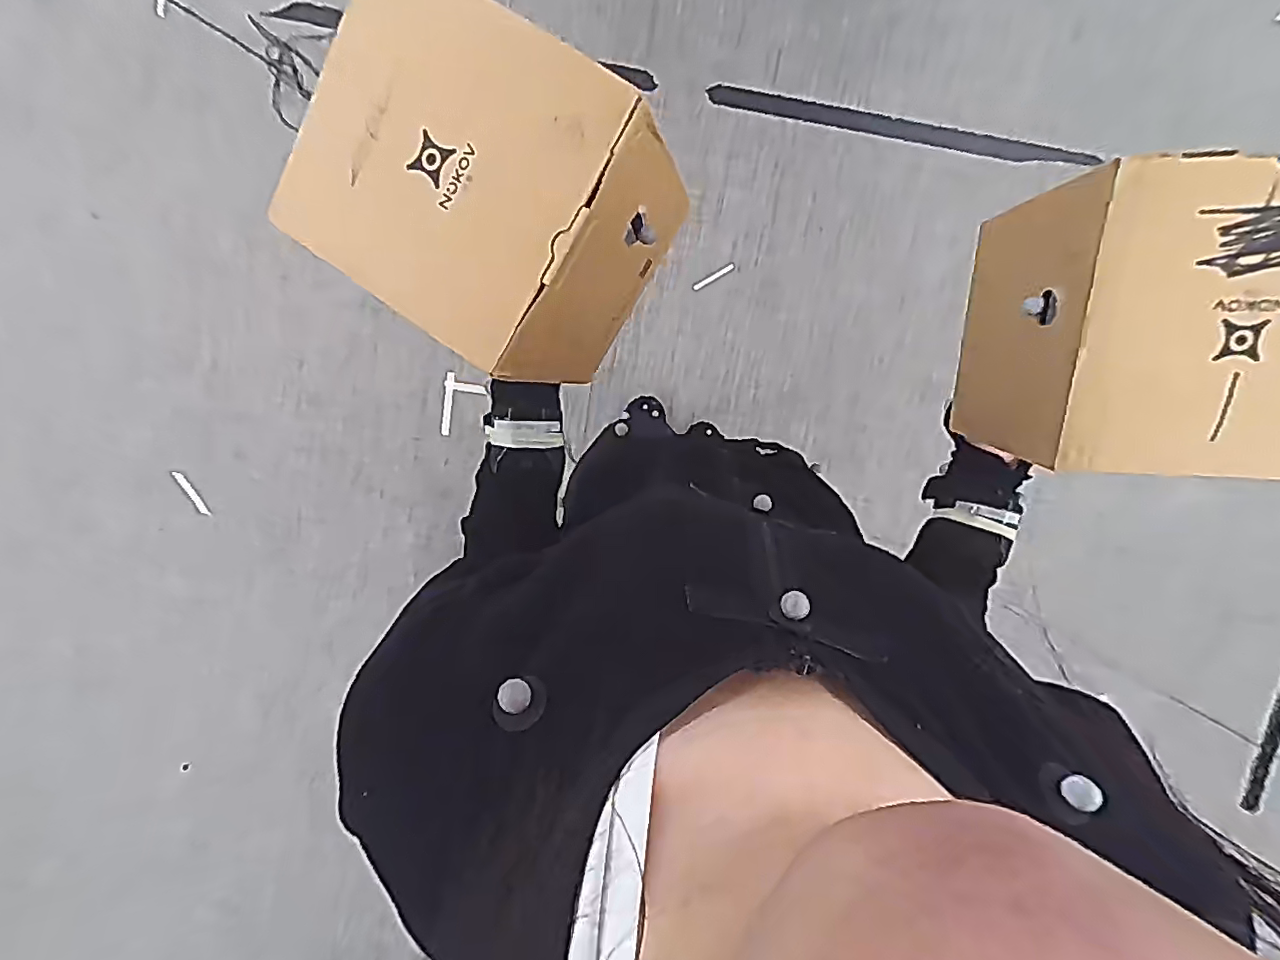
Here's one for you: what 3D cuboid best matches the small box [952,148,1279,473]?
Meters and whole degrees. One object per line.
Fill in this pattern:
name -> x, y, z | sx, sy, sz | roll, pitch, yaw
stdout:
small box -> 0.346, -0.109, 0.380 | 0.168, 0.176, 0.179 | 3, 105, 9

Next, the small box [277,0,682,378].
small box -> -0.090, -0.185, 0.375 | 0.179, 0.176, 0.168 | 34, 104, 7
